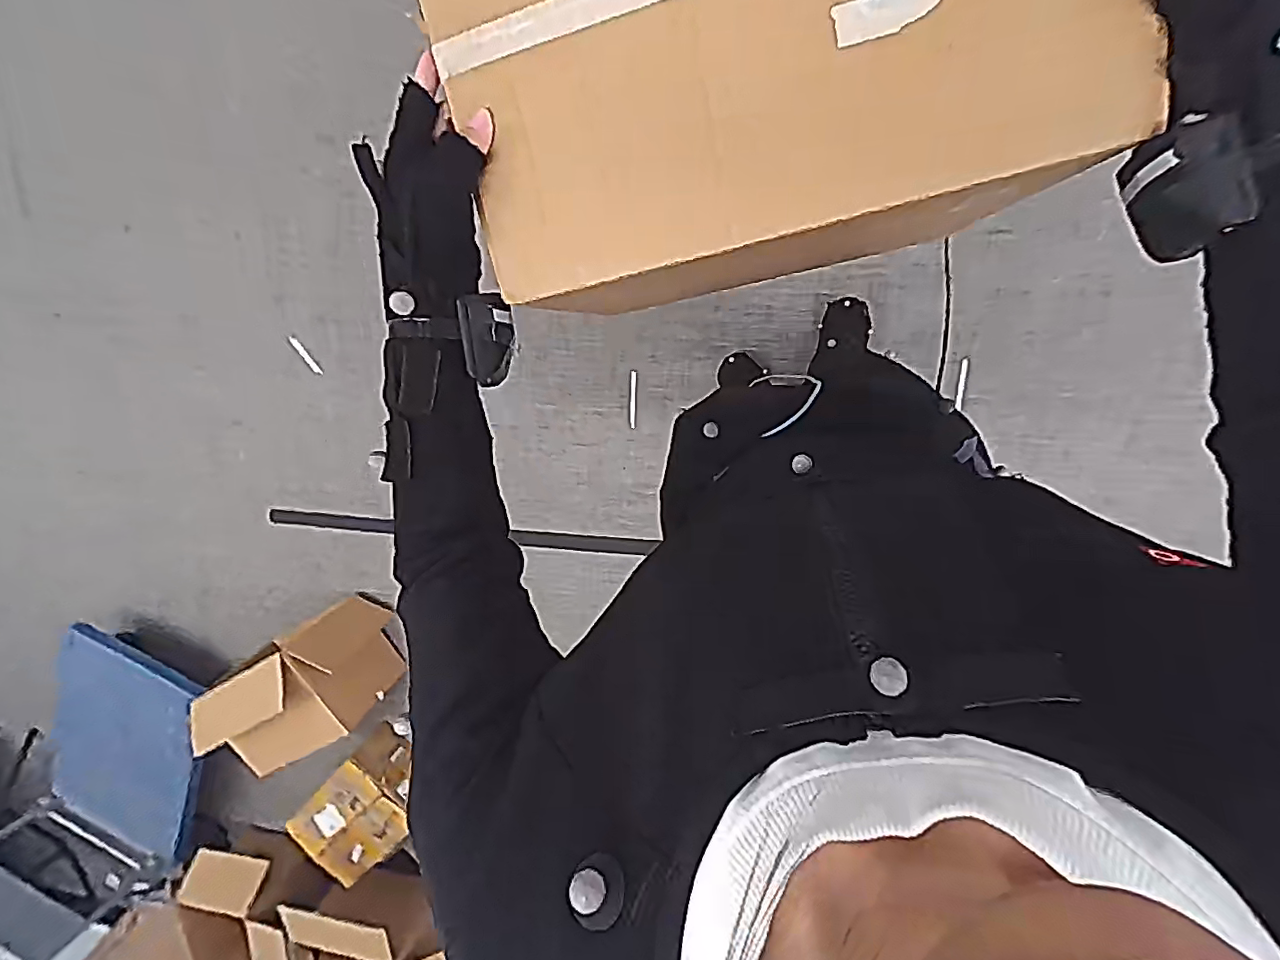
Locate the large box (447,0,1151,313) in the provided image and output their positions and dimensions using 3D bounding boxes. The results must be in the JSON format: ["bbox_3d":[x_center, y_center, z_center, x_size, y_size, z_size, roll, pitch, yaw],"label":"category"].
[{"bbox_3d":[0.094,-0.352,0.464,0.408,0.320,0.320,-10,103,12],"label":"large box"}]
